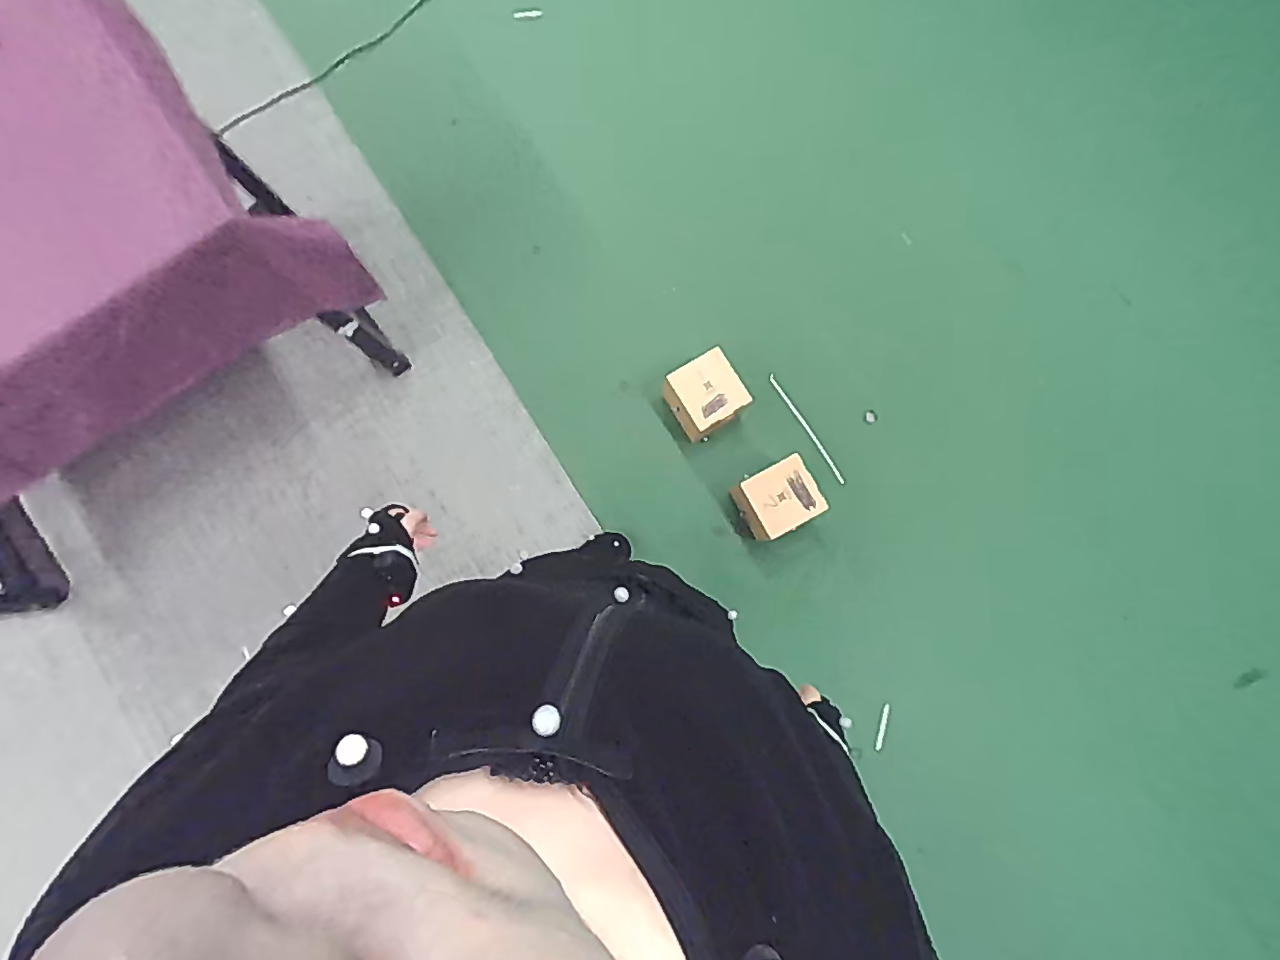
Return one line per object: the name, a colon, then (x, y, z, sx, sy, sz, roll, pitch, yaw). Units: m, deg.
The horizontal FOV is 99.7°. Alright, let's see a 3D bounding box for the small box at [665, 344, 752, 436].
small box: (0.181, -0.237, 1.488, 0.168, 0.176, 0.179, -30, 83, -4)
